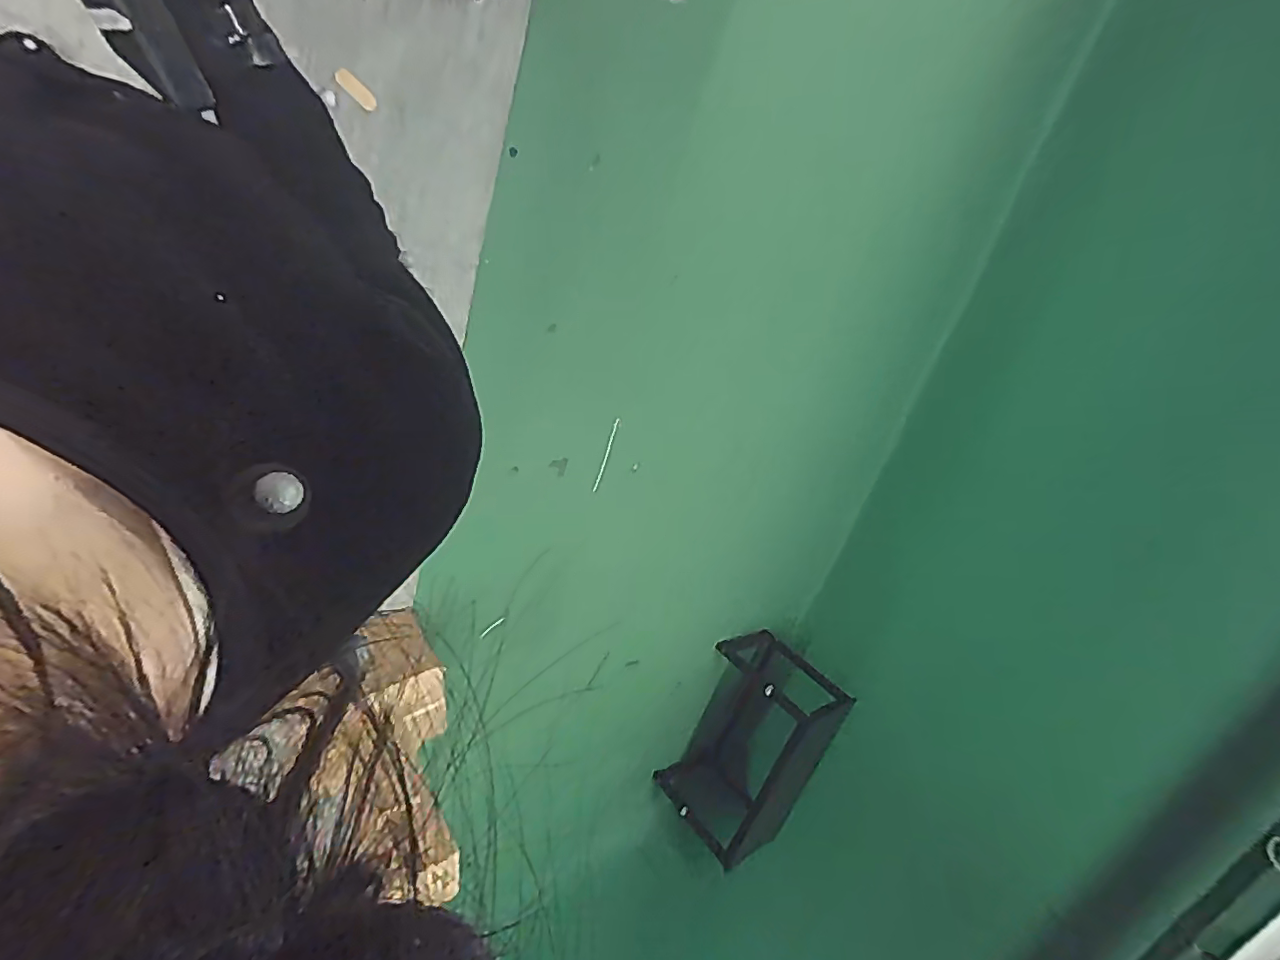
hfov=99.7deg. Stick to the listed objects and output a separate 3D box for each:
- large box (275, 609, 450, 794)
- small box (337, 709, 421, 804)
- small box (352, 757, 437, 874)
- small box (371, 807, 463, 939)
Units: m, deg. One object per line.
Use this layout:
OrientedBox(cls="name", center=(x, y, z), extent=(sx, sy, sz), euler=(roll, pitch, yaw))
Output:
OrientedBox(cls="large box", center=(-0.868, 0.677, 1.714), extent=(0.408, 0.320, 0.320), euler=(-17, 128, -37))
OrientedBox(cls="small box", center=(-0.740, 0.791, 1.537), extent=(0.179, 0.176, 0.168), euler=(-12, 122, -37))
OrientedBox(cls="small box", center=(-0.649, 0.869, 1.425), extent=(0.168, 0.176, 0.179), euler=(-10, 122, -38))
OrientedBox(cls="small box", center=(-0.546, 0.942, 1.320), extent=(0.168, 0.176, 0.179), euler=(-11, 121, -37))
